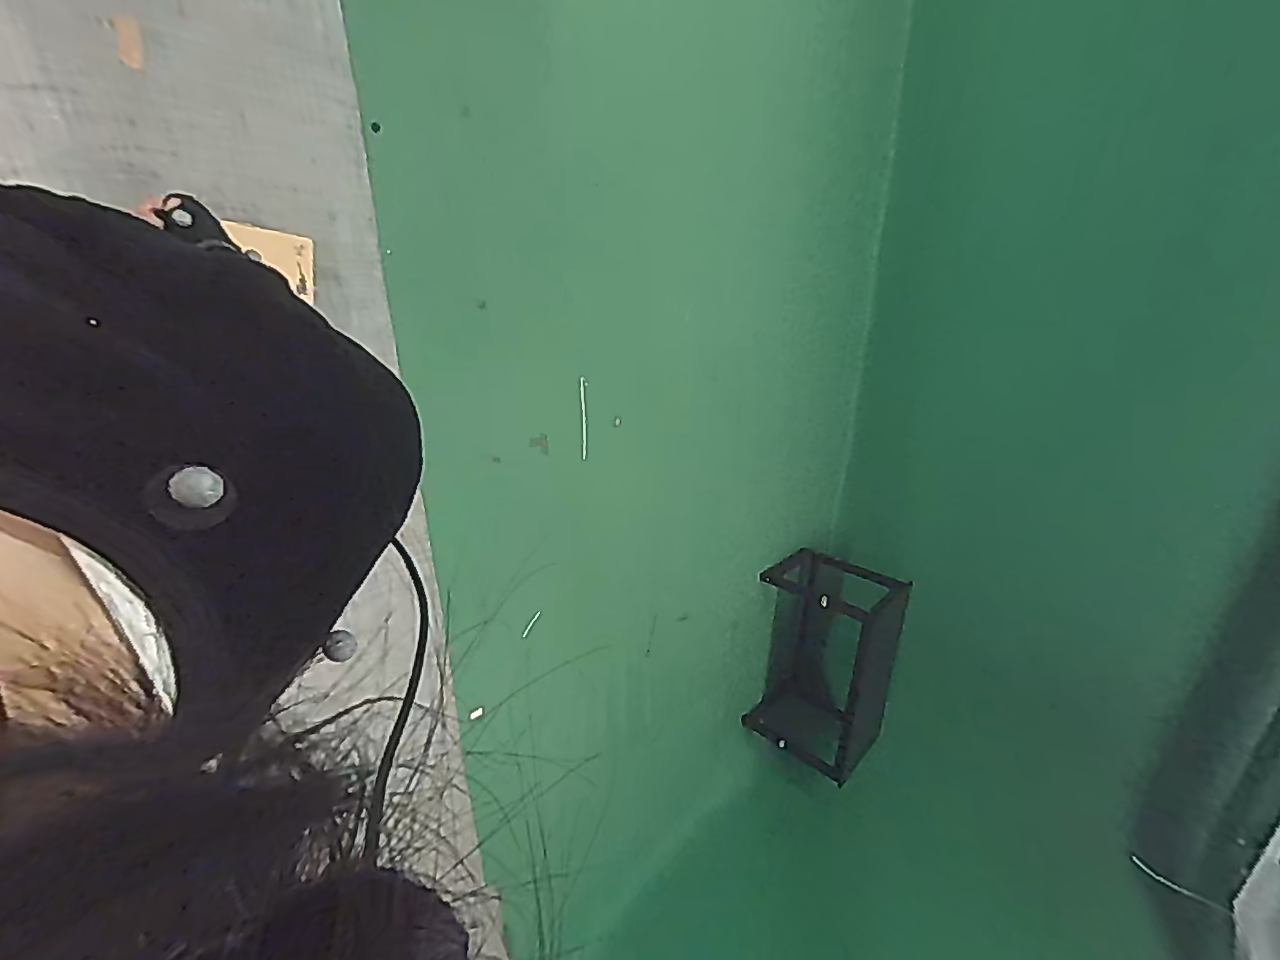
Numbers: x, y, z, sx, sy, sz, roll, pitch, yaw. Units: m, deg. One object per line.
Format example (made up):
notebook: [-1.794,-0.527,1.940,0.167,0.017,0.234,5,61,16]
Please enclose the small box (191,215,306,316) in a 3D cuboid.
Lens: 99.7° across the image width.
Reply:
small box: [-0.833,-0.448,1.149,0.179,0.176,0.168,-7,110,-47]
